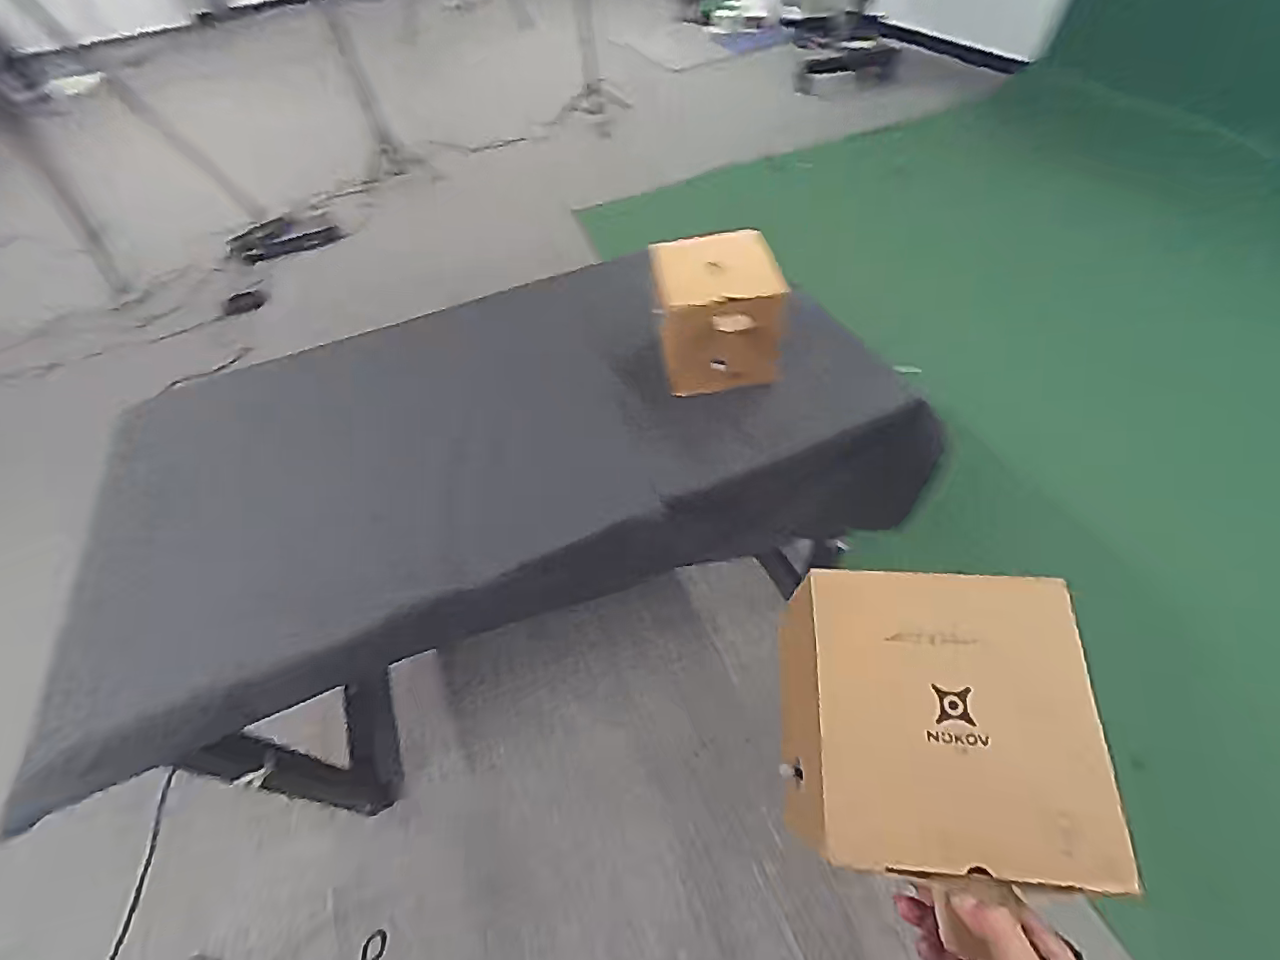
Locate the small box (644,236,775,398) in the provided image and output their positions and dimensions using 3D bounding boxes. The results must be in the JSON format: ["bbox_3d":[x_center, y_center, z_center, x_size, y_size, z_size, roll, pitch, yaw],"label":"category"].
[{"bbox_3d":[0.102,-0.257,0.859,0.168,0.176,0.179,-10,52,-2],"label":"small box"}]
